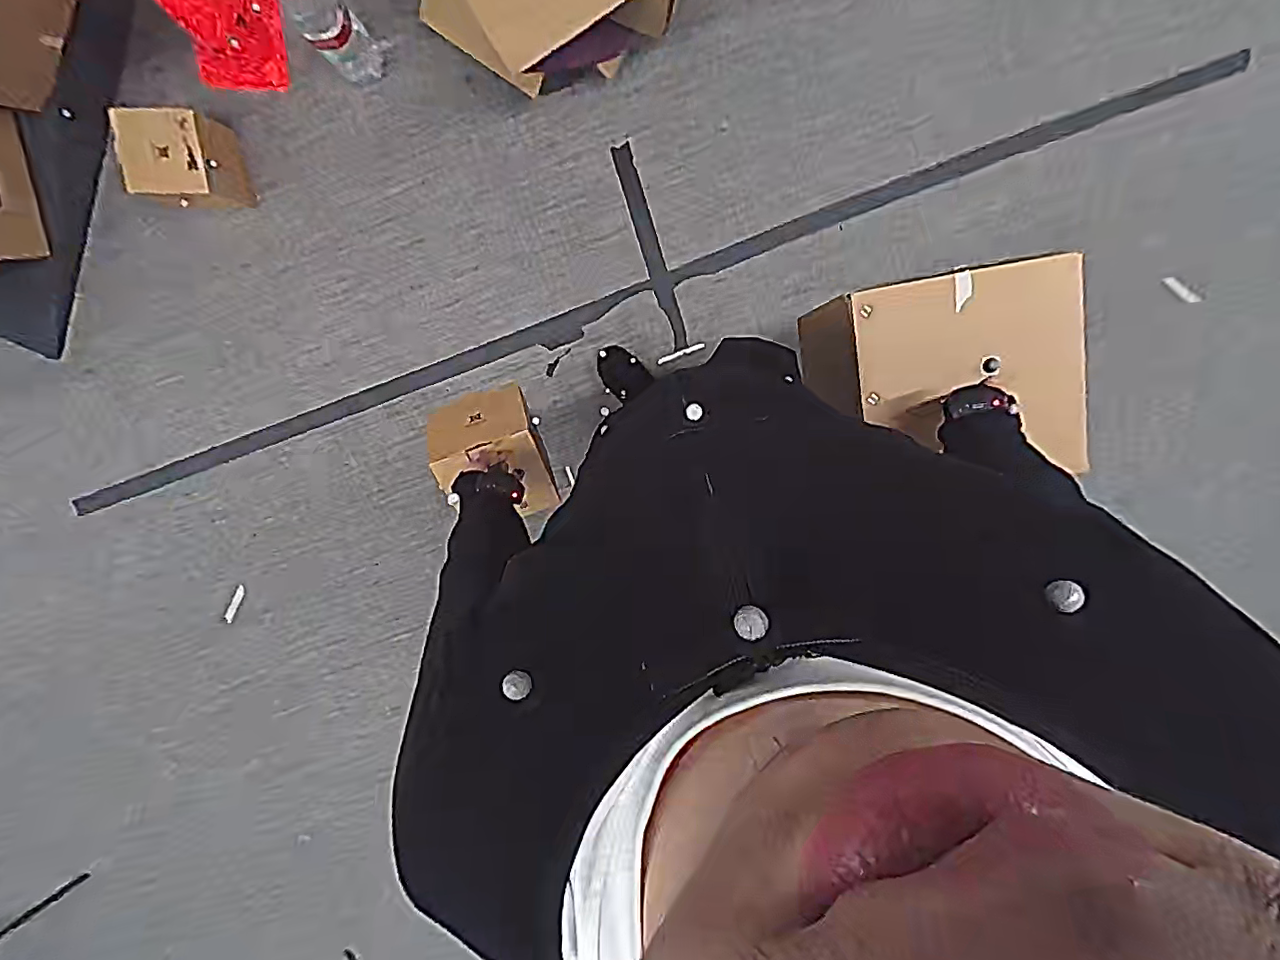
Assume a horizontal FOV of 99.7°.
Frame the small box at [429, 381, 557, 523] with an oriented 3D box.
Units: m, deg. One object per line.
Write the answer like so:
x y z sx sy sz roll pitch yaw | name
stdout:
-0.257 -0.044 0.962 0.168 0.179 0.176 -20 130 -5 | small box
